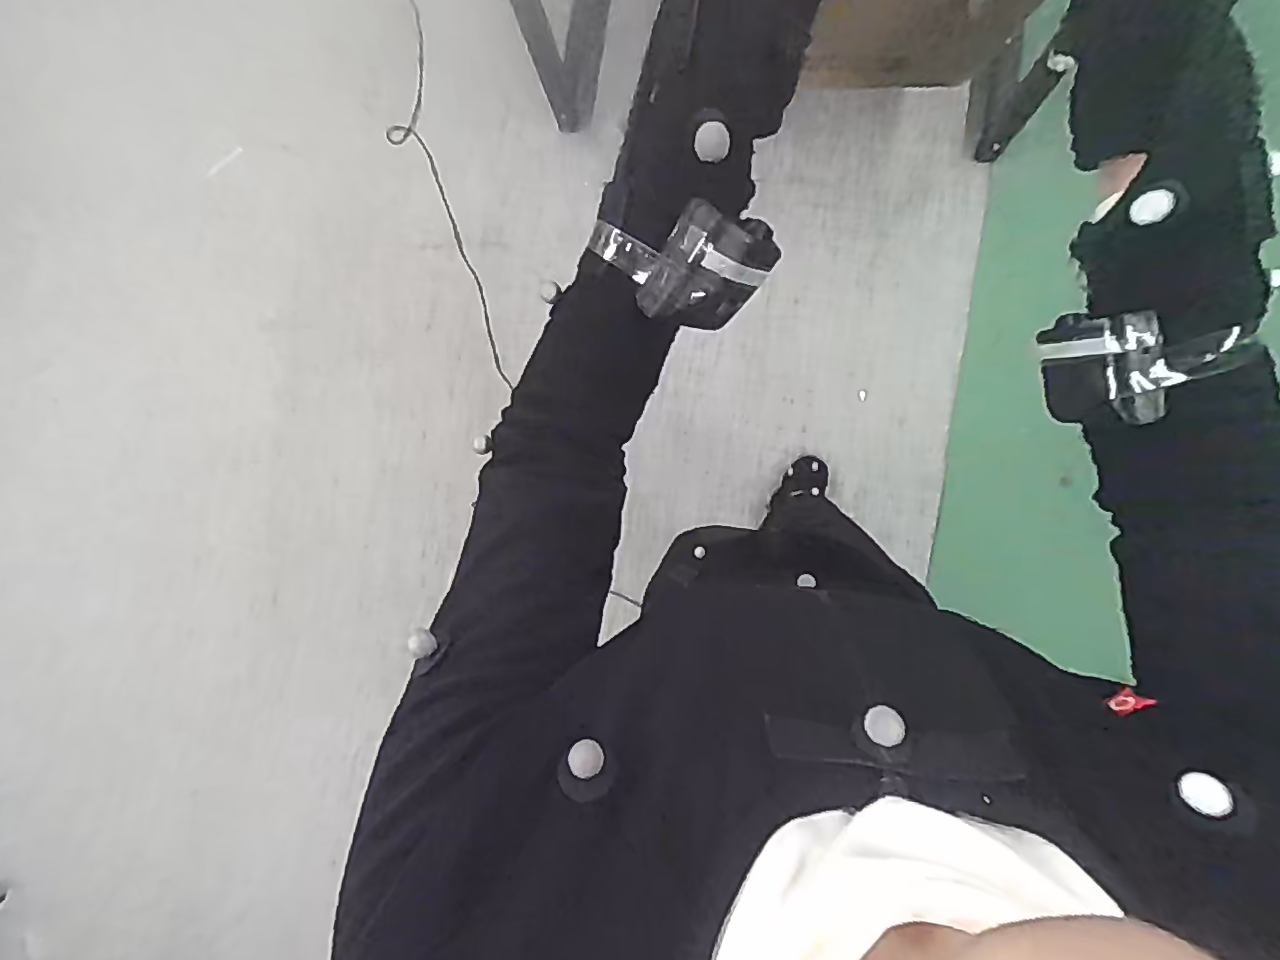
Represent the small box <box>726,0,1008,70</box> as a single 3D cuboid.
[{"bbox_3d":[0.142,-0.361,0.289,0.168,0.176,0.179,-2,94,-4],"label":"small box"}]
